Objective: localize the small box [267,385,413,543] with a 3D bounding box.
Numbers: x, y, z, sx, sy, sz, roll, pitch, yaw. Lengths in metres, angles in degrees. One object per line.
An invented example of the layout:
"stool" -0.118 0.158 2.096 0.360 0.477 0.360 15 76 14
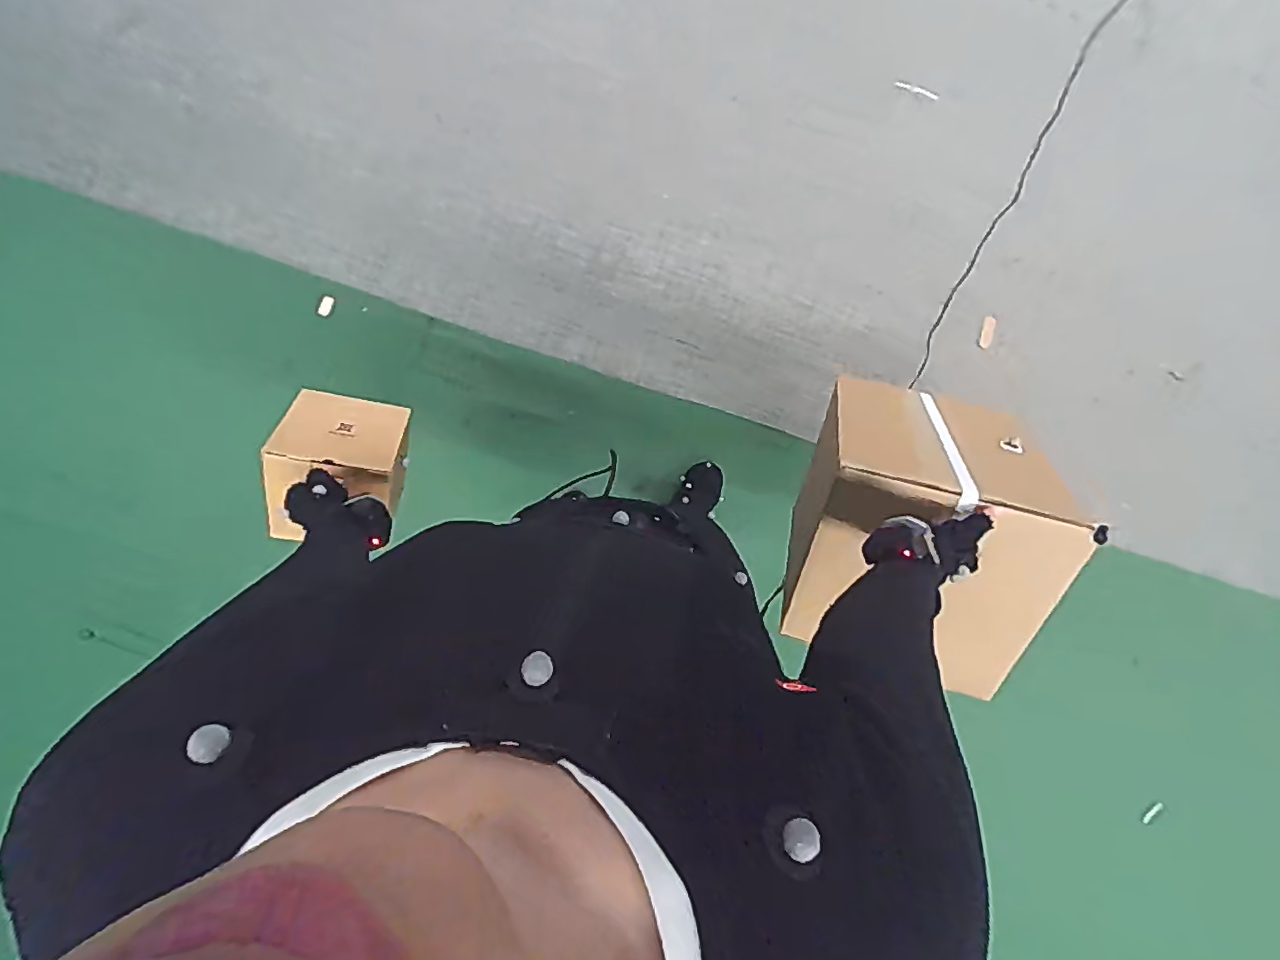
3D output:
"small box" -0.479 -0.025 0.880 0.168 0.179 0.176 10 129 -18
